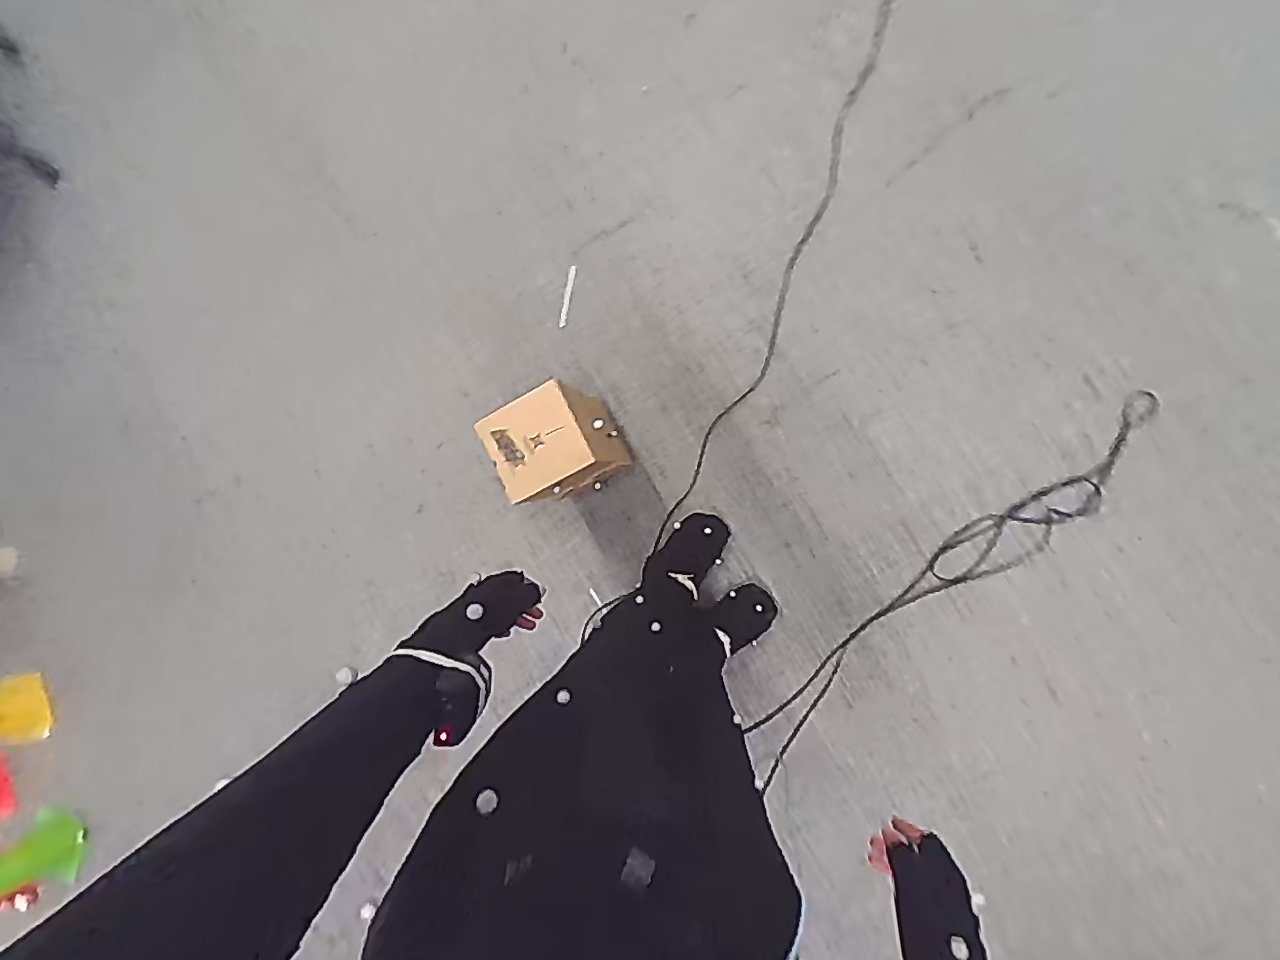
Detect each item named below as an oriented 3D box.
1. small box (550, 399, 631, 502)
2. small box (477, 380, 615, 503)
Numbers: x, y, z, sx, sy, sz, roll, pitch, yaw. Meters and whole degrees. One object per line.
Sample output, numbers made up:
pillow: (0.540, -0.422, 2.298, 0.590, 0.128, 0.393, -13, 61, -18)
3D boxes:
small box: (-0.137, -0.072, 1.192, 0.168, 0.176, 0.179, -28, 88, 11)
small box: (-0.171, -0.068, 1.030, 0.179, 0.176, 0.168, -27, 88, 11)
